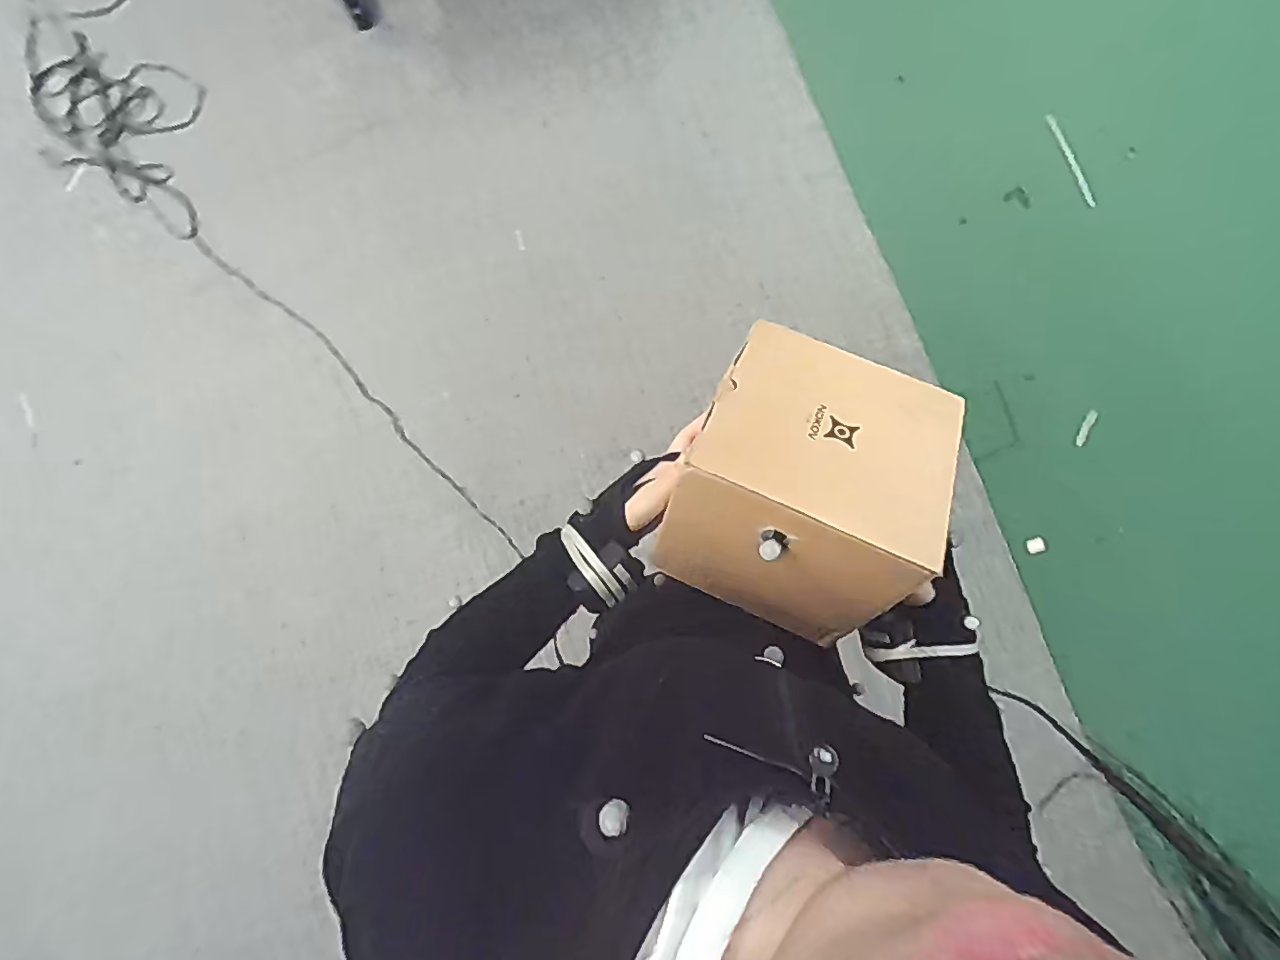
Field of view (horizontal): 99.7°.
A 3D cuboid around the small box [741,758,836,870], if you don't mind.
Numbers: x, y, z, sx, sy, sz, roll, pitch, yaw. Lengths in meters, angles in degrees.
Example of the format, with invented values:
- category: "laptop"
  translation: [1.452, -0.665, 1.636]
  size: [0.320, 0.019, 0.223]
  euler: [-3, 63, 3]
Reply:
- category: "small box"
  translation: [0.360, 0.825, 1.351]
  size: [0.179, 0.176, 0.168]
  euler: [-14, 83, -1]

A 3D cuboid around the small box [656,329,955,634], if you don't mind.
- category: "small box"
  translation: [0.129, 0.011, 0.460]
  size: [0.179, 0.176, 0.168]
  euler: [23, 57, 9]
